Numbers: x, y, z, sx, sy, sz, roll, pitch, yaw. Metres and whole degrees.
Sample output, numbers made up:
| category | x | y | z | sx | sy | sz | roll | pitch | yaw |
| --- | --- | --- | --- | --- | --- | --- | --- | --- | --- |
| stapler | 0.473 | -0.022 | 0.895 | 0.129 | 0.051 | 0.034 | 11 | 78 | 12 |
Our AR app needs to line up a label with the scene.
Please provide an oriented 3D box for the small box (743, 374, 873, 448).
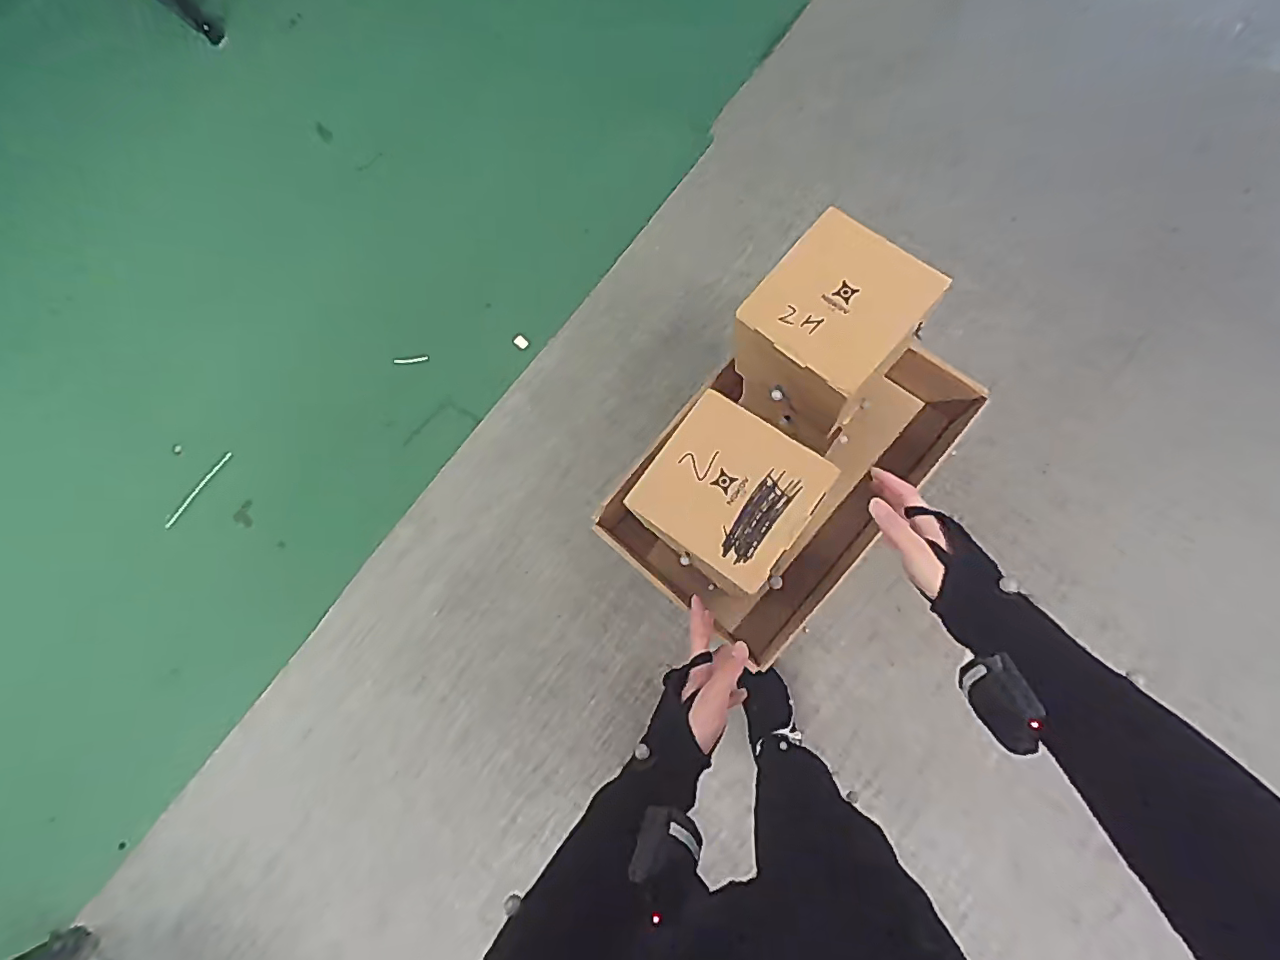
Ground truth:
| category | x | y | z | sx | sy | sz | roll | pitch | yaw |
| --- | --- | --- | --- | --- | --- | --- | --- | --- | --- |
| small box | 0.277 | -0.171 | 0.835 | 0.168 | 0.176 | 0.179 | 34 | 87 | 14 |

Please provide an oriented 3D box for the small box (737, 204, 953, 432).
| category | x | y | z | sx | sy | sz | roll | pitch | yaw |
| --- | --- | --- | --- | --- | --- | --- | --- | --- | --- |
| small box | 0.237 | -0.188 | 0.674 | 0.168 | 0.176 | 0.179 | 42 | 89 | 16 |

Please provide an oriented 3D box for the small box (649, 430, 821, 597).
| category | x | y | z | sx | sy | sz | roll | pitch | yaw |
| --- | --- | --- | --- | --- | --- | --- | --- | --- | --- |
| small box | 0.140 | 0.056 | 0.813 | 0.179 | 0.176 | 0.168 | 38 | 85 | 15 |
